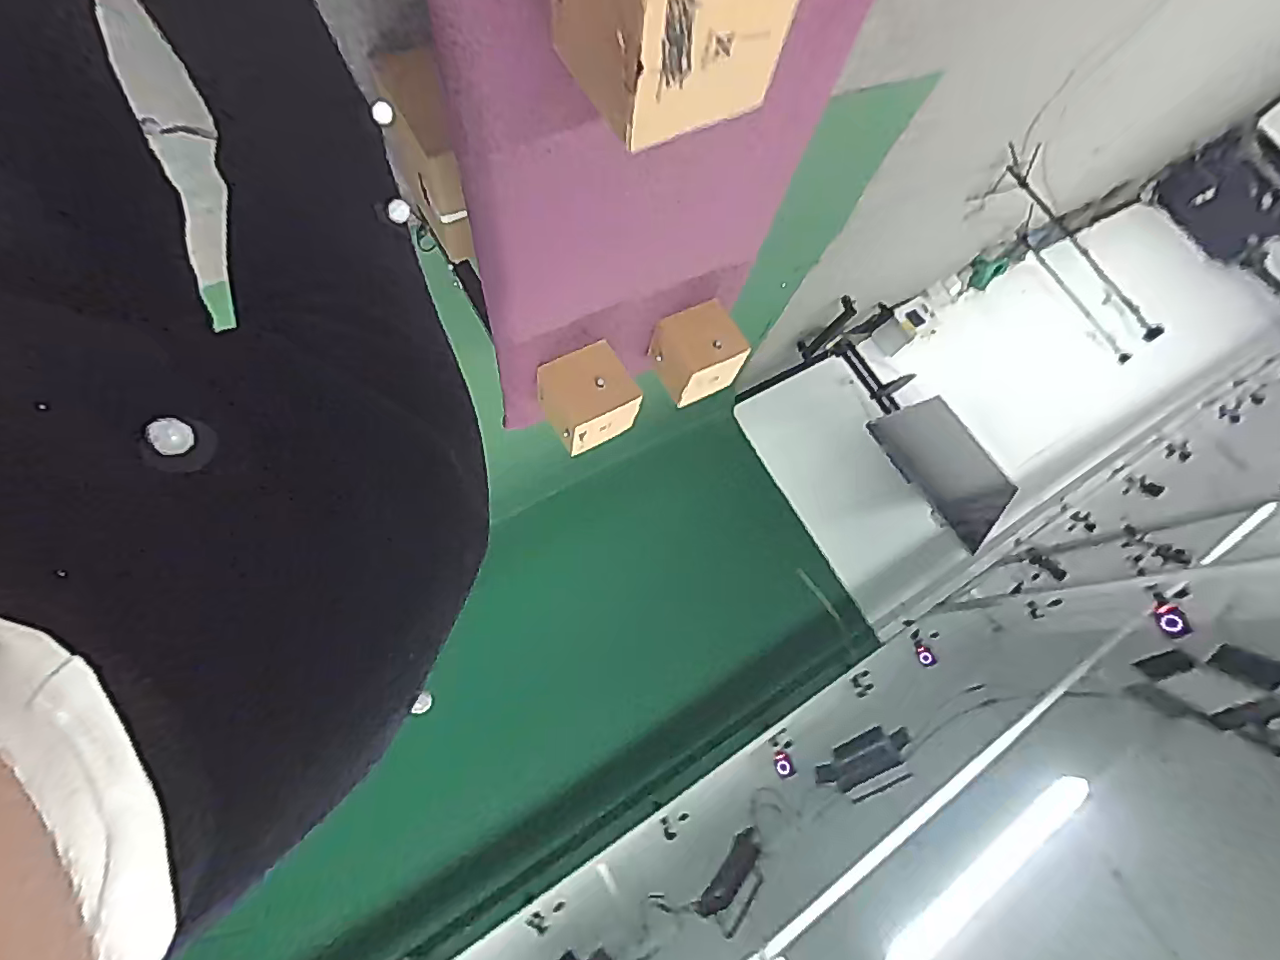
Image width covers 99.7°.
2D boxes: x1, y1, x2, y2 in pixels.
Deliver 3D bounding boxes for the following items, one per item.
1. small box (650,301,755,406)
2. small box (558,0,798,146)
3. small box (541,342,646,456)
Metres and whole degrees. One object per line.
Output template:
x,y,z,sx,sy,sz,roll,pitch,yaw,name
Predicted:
0.152,-0.322,1.367,0.179,0.176,0.168,-26,164,-18,small box
0.031,-0.472,0.514,0.179,0.176,0.168,-29,168,-15,small box
-0.113,-0.190,1.259,0.179,0.176,0.168,-30,166,-19,small box
